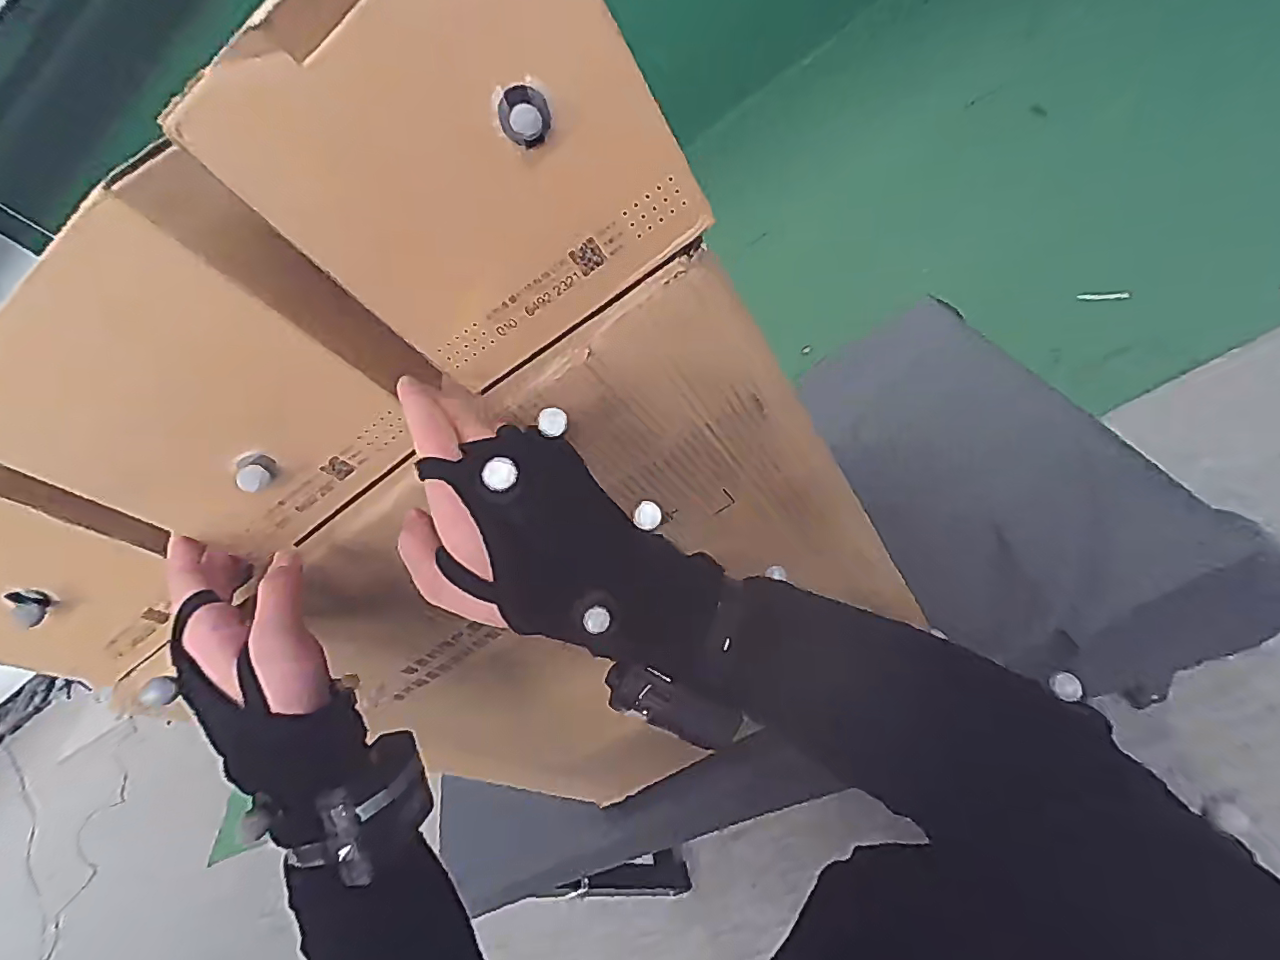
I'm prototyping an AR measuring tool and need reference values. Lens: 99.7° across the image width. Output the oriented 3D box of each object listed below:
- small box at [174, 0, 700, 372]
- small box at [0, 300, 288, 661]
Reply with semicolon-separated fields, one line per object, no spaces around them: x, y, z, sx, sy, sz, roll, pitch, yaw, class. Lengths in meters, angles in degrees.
-0.085;-0.186;0.298;0.168;0.176;0.179;-28;44;15;small box
-0.399;0.013;0.397;0.168;0.176;0.179;-33;44;15;small box
